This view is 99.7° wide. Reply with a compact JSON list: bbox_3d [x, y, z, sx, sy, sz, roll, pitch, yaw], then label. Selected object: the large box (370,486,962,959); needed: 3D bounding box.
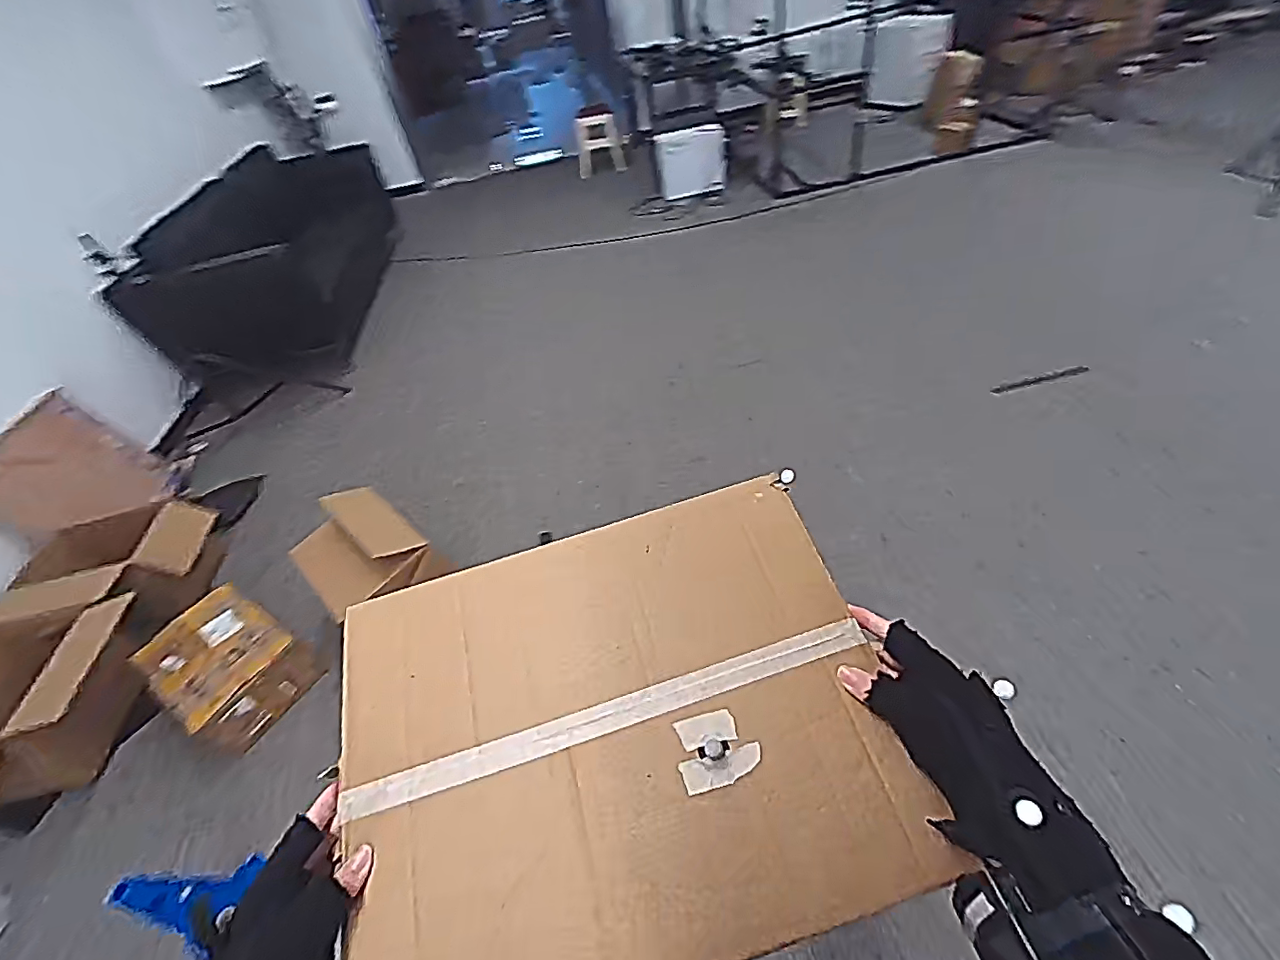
[{"bbox_3d":[0.001,0.263,0.546,0.408,0.320,0.320,-17,58,-3],"label":"large box"}]
